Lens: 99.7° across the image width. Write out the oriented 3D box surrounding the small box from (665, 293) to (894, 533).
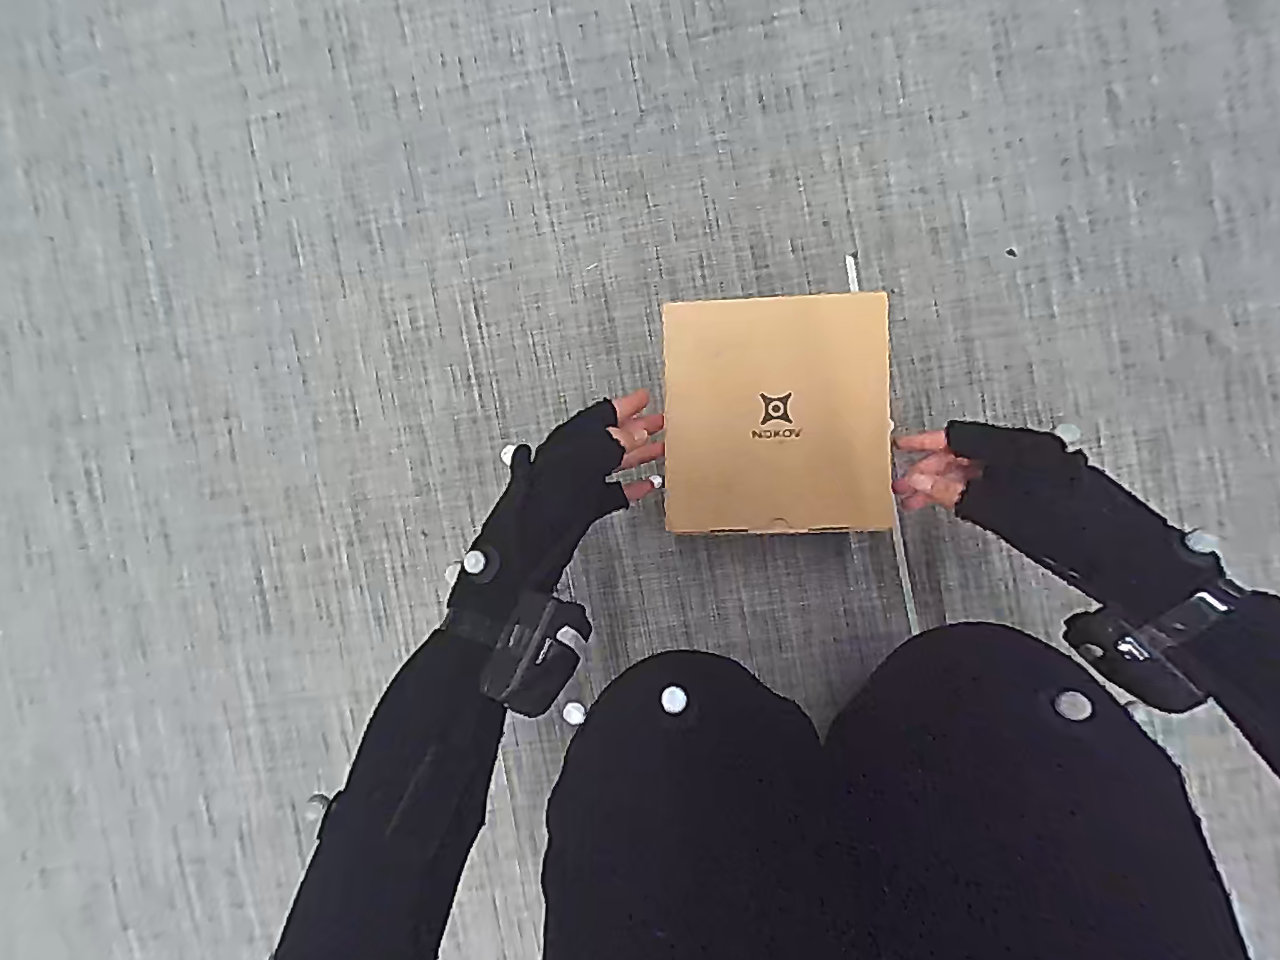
[{"bbox_3d":[0.106,-0.049,0.477,0.168,0.176,0.179,-2,92,4],"label":"small box"}]
